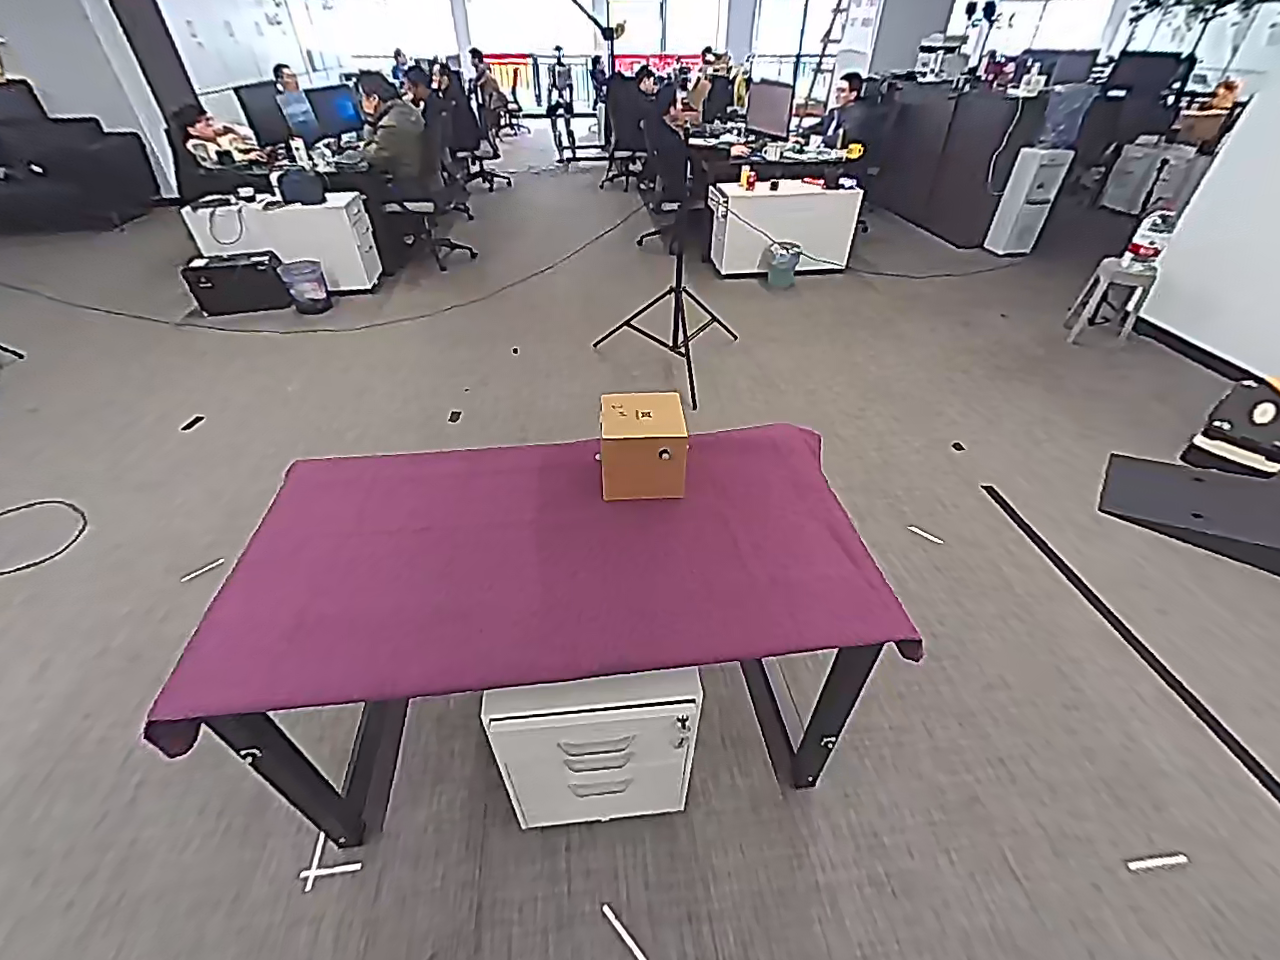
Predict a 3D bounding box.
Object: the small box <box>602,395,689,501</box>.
[{"bbox_3d":[0.007,-0.069,1.181,0.179,0.176,0.168,-3,40,-2],"label":"small box"}]
